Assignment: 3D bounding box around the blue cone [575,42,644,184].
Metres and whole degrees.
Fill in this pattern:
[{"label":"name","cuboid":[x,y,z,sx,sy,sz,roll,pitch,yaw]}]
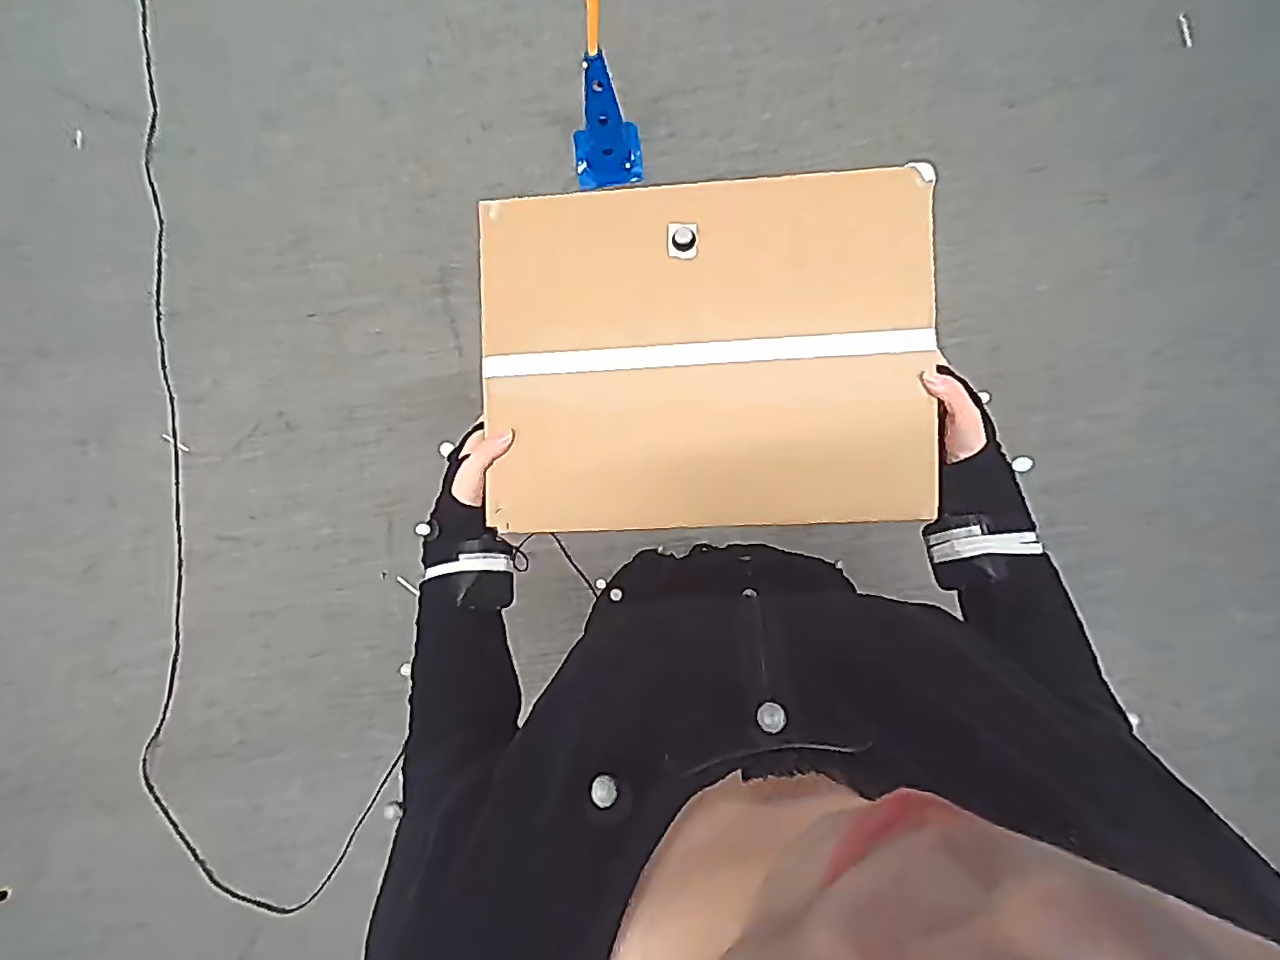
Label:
[{"label":"blue cone","cuboid":[-0.100,-1.010,1.464,0.193,0.380,0.192,-11,83,0]}]
